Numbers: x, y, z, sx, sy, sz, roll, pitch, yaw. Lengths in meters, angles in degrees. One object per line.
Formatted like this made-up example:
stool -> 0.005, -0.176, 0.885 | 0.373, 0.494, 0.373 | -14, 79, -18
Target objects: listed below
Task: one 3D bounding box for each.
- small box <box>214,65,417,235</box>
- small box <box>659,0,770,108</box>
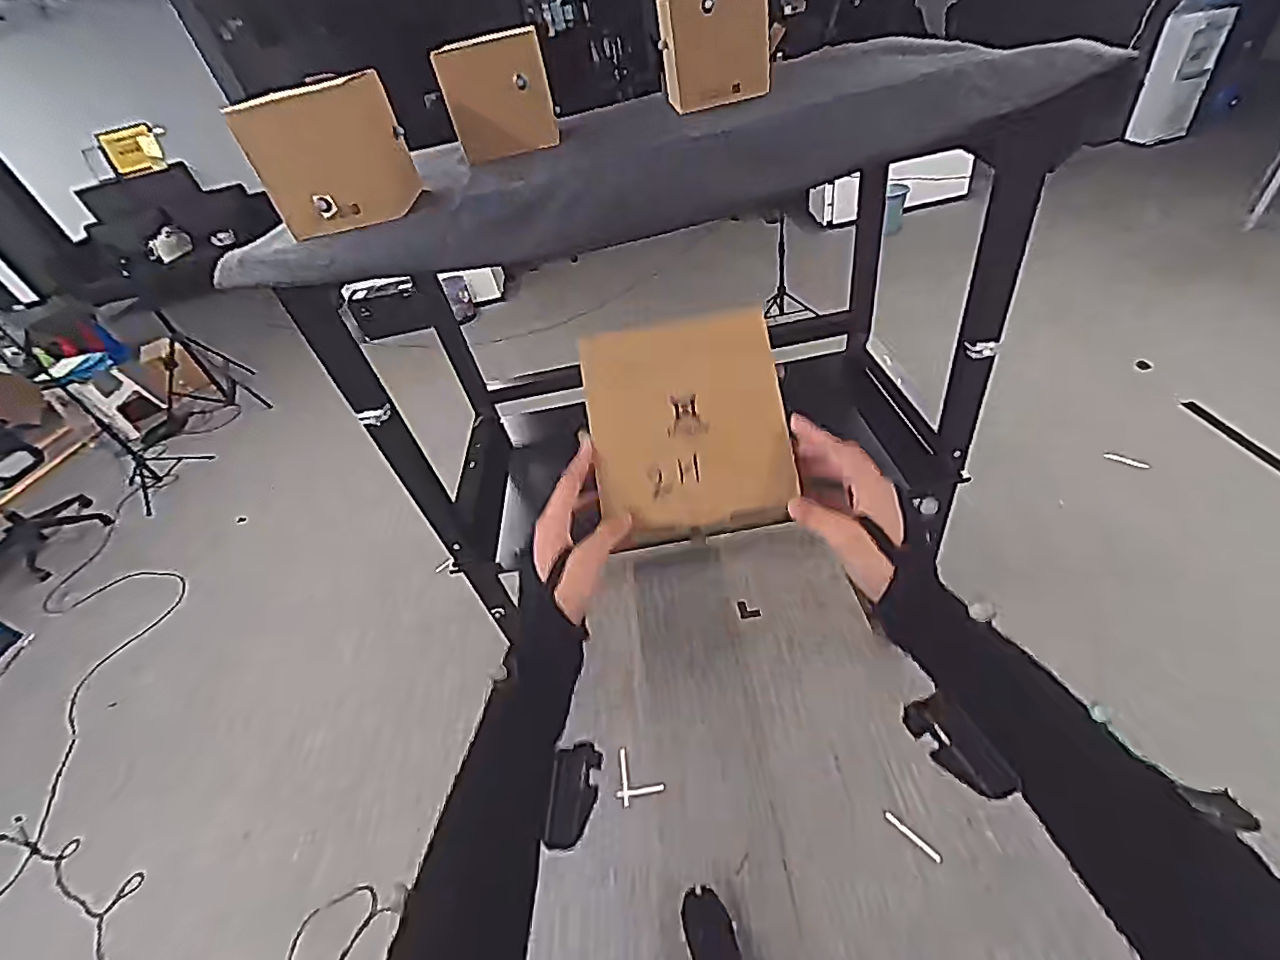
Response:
small box -> -0.446, -0.475, 0.782 | 0.168, 0.176, 0.179 | -13, 41, 2
small box -> 0.132, -0.792, 0.974 | 0.168, 0.176, 0.179 | -12, 42, 3
